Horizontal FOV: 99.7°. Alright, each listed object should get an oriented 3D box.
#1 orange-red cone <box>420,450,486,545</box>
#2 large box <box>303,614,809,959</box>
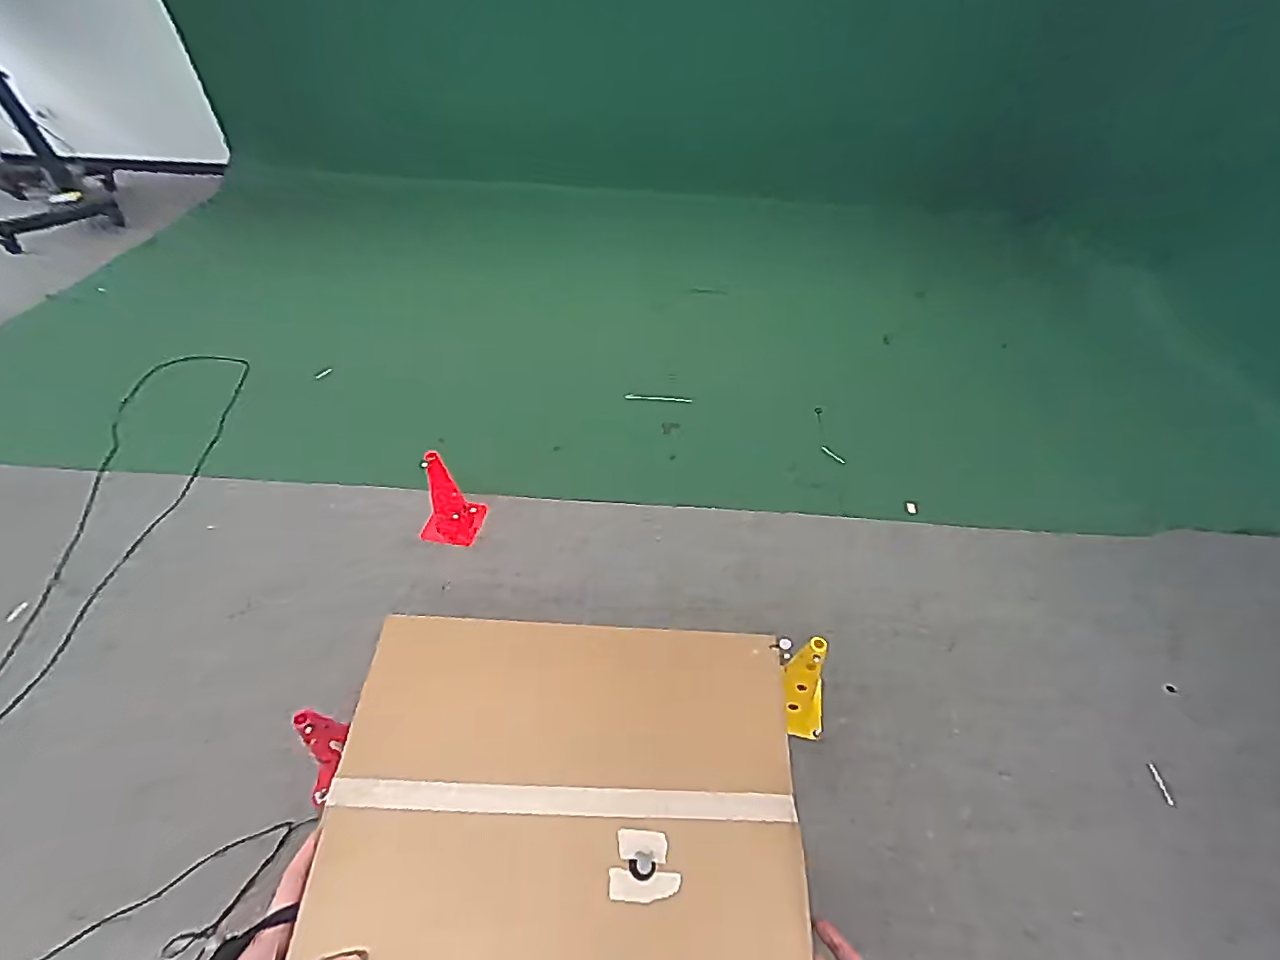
[{"bbox_3d":[-0.692,0.037,1.889,0.199,0.360,0.198,9,47,7],"label":"orange-red cone"},{"bbox_3d":[-0.072,0.359,0.614,0.408,0.320,0.320,4,58,-3],"label":"large box"}]
